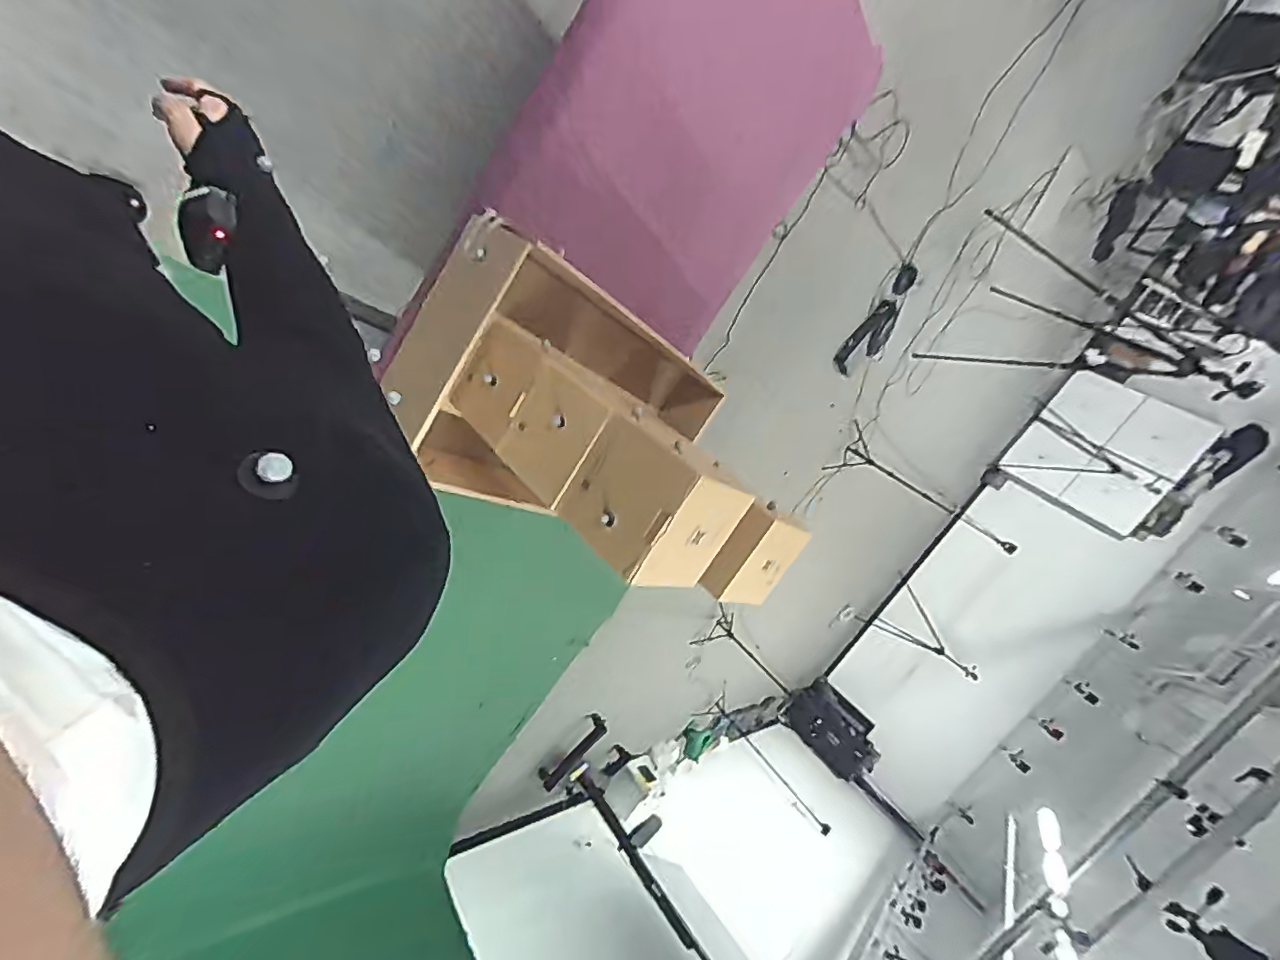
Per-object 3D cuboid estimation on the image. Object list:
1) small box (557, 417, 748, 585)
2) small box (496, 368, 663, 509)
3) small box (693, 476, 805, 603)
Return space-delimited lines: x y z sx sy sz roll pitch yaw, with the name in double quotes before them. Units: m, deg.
"small box" 0.015 0.031 0.766 0.179 0.176 0.168 16 110 -55
"small box" -0.093 -0.055 0.853 0.179 0.176 0.168 19 107 -55
"small box" 0.160 0.103 0.980 0.179 0.176 0.168 21 107 -52
